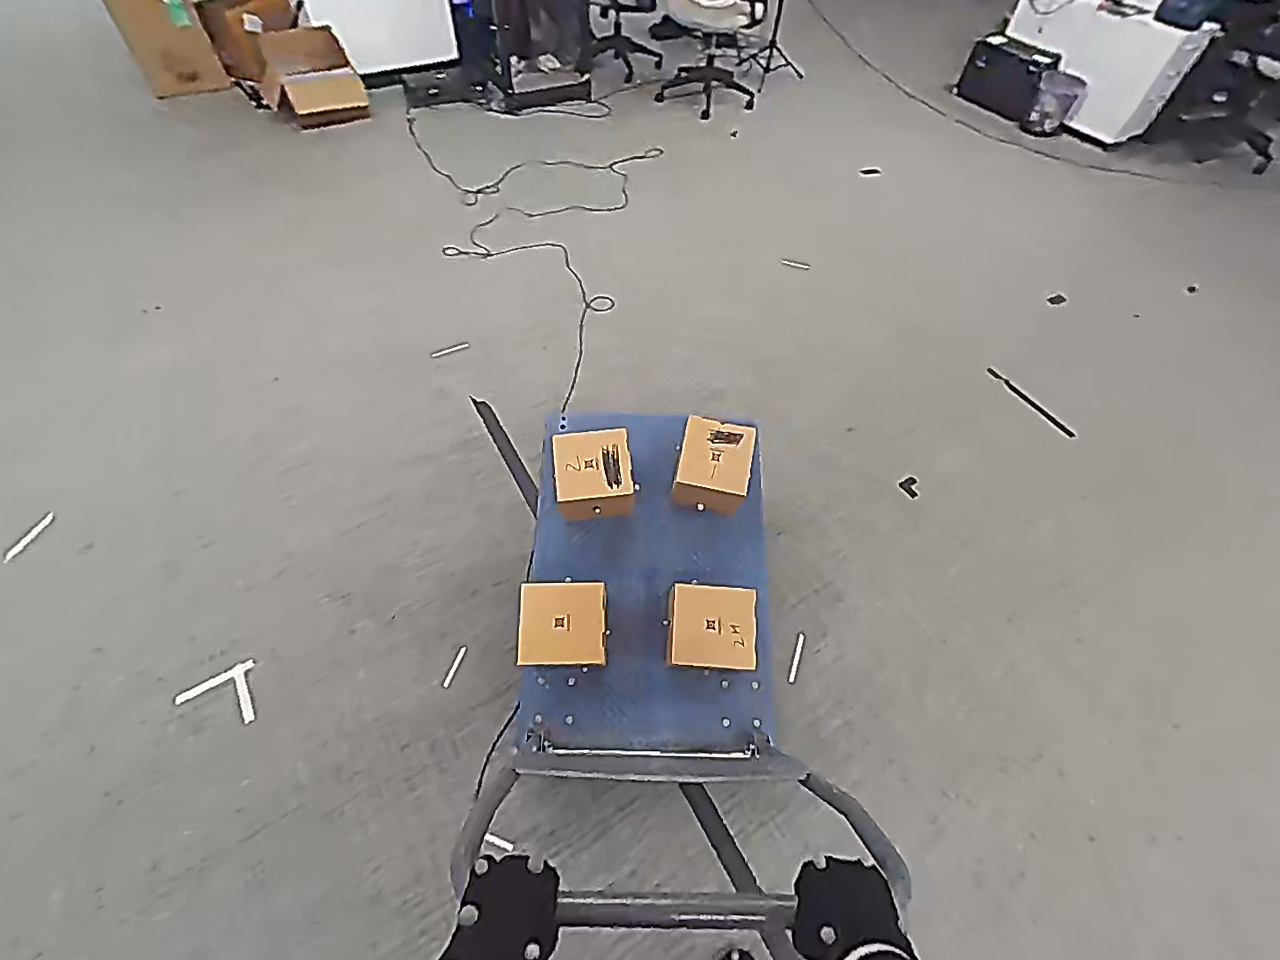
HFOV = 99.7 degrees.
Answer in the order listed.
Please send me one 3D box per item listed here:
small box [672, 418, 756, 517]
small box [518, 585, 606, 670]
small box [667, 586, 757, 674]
[{"bbox_3d":[0.176,-0.026,1.329,0.168,0.176,0.179,12,71,2],"label":"small box"},{"bbox_3d":[-0.164,0.327,1.184,0.179,0.176,0.168,0,69,-5],"label":"small box"},{"bbox_3d":[0.153,0.335,1.194,0.179,0.176,0.168,5,70,-1],"label":"small box"}]
